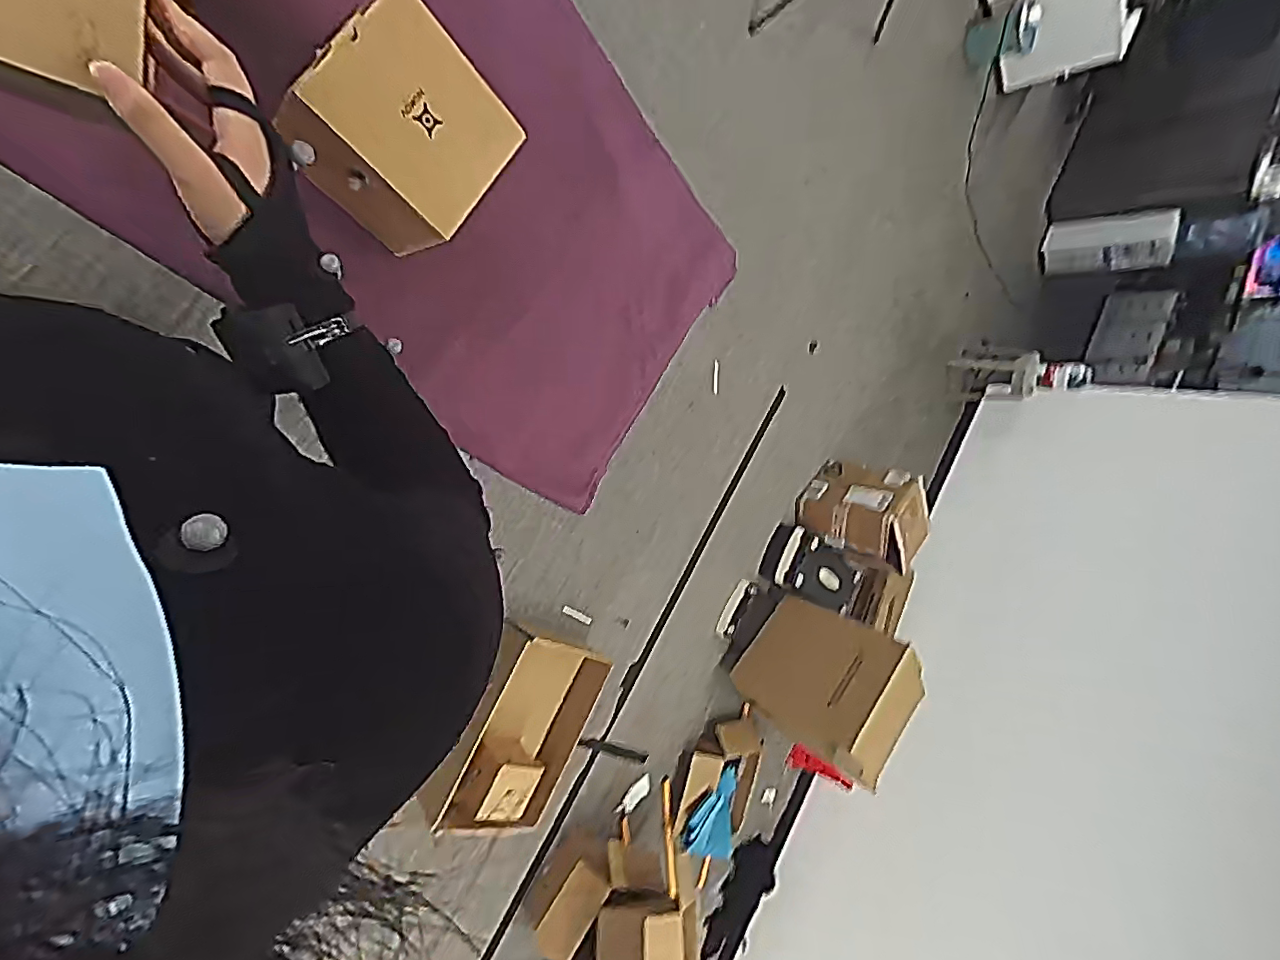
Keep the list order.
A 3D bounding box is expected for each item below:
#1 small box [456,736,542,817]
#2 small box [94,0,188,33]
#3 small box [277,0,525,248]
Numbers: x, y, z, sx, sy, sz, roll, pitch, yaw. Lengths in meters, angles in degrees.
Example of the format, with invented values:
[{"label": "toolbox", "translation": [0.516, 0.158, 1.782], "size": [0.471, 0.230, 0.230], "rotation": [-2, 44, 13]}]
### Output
[{"label": "small box", "translation": [-0.458, 0.947, 1.734], "size": [0.179, 0.176, 0.168], "rotation": [36, 78, -42]}, {"label": "small box", "translation": [-0.443, -0.520, 0.428], "size": [0.179, 0.176, 0.168], "rotation": [40, 75, -41]}, {"label": "small box", "translation": [-0.272, -0.389, 0.617], "size": [0.179, 0.176, 0.168], "rotation": [40, 75, -39]}]
